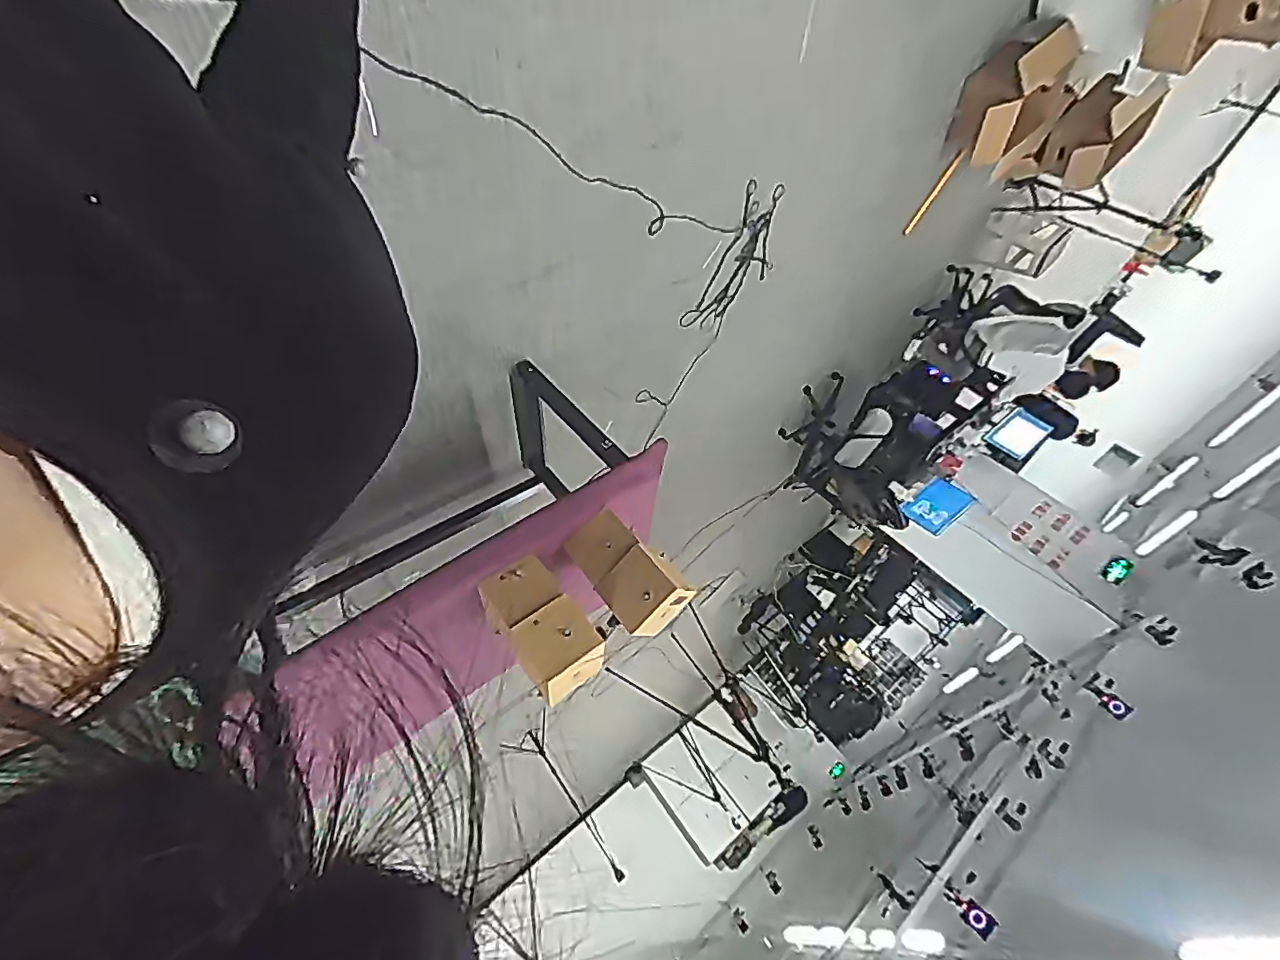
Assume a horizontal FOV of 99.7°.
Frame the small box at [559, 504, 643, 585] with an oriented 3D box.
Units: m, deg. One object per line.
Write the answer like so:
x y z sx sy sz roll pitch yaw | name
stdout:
-0.102 0.198 1.561 0.179 0.176 0.168 -42 152 -6 | small box

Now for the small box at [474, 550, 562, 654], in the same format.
-0.321 0.319 1.431 0.168 0.176 0.179 -30 149 -29 | small box

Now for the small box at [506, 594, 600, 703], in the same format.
-0.218 0.410 1.343 0.168 0.176 0.179 -31 151 -28 | small box

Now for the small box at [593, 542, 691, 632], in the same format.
0.004 0.291 1.473 0.179 0.176 0.168 -47 152 6 | small box
